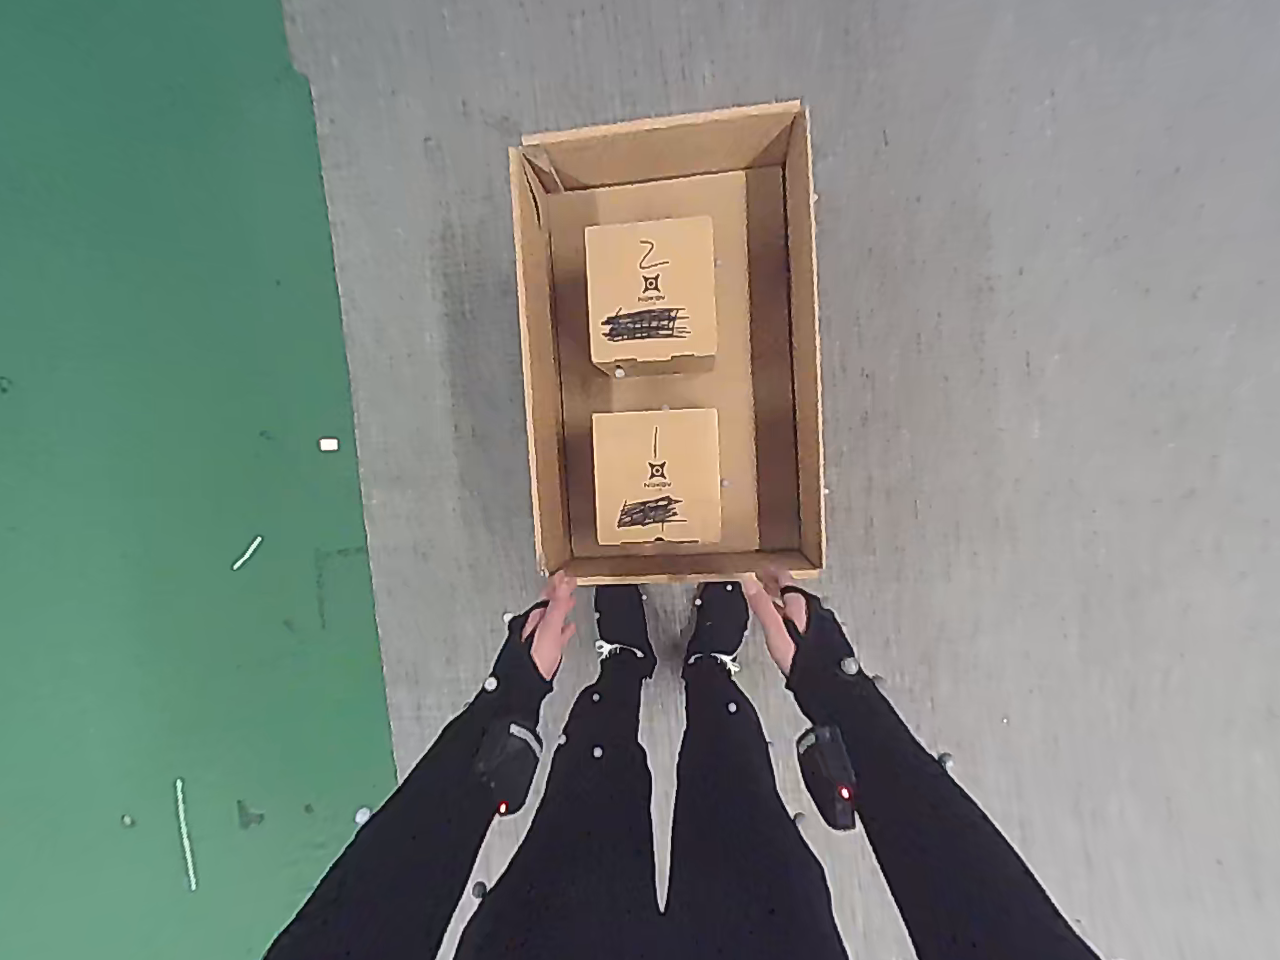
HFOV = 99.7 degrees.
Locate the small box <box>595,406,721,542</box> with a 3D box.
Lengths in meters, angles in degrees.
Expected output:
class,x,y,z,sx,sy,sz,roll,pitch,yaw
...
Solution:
class,x,y,z,sx,sy,sz,roll,pitch,yaw
small box,0.033,-0.011,0.783,0.168,0.176,0.179,-2,92,7
